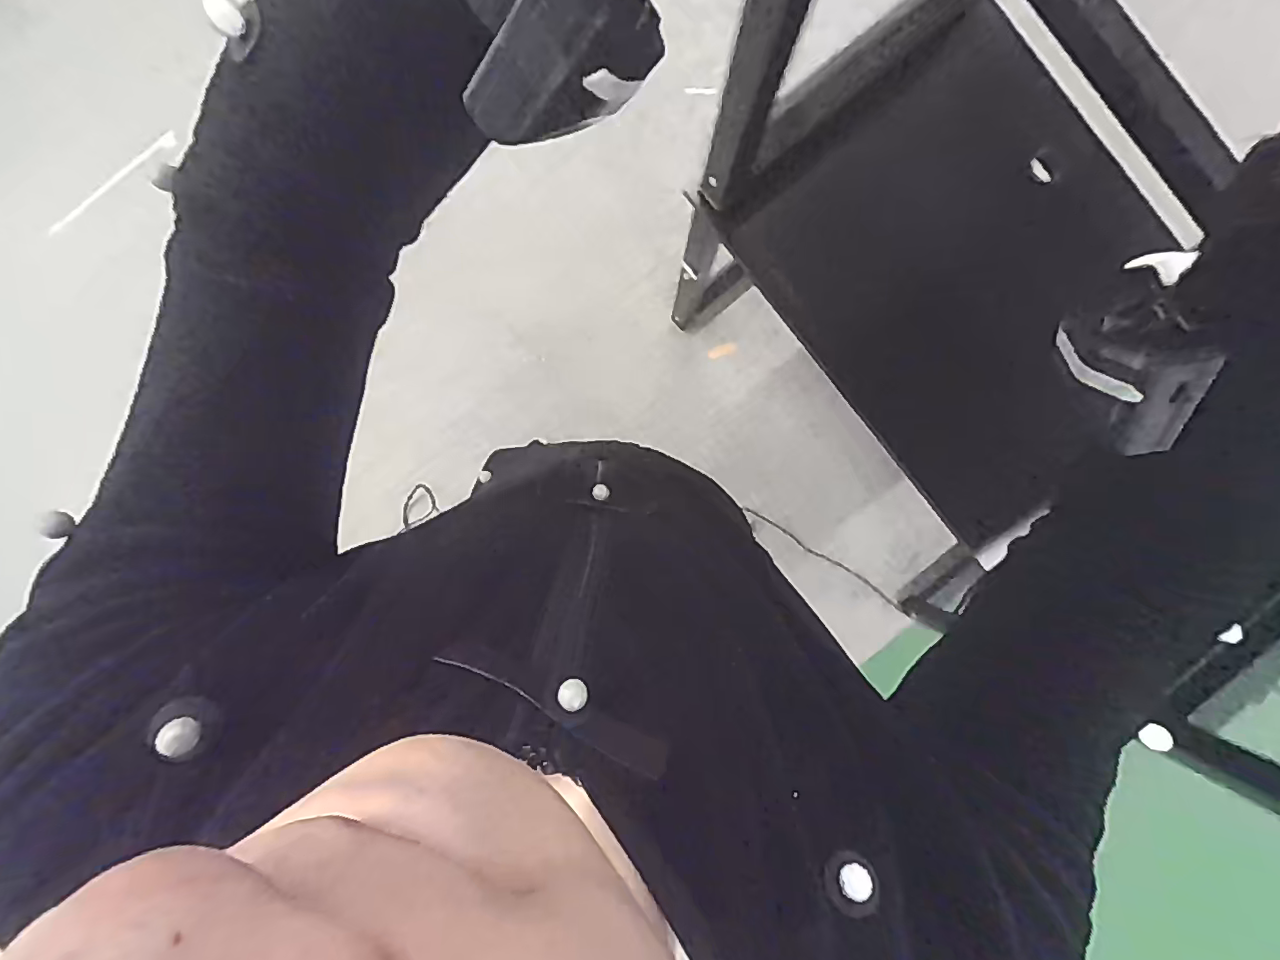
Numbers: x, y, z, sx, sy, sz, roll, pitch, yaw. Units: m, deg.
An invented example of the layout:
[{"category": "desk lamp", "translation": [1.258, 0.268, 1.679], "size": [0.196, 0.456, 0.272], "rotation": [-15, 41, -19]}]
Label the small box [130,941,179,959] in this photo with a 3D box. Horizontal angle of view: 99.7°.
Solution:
[{"category": "small box", "translation": [-1.328, 1.369, 1.407], "size": [0.179, 0.176, 0.168], "rotation": [-32, 90, 1]}]
